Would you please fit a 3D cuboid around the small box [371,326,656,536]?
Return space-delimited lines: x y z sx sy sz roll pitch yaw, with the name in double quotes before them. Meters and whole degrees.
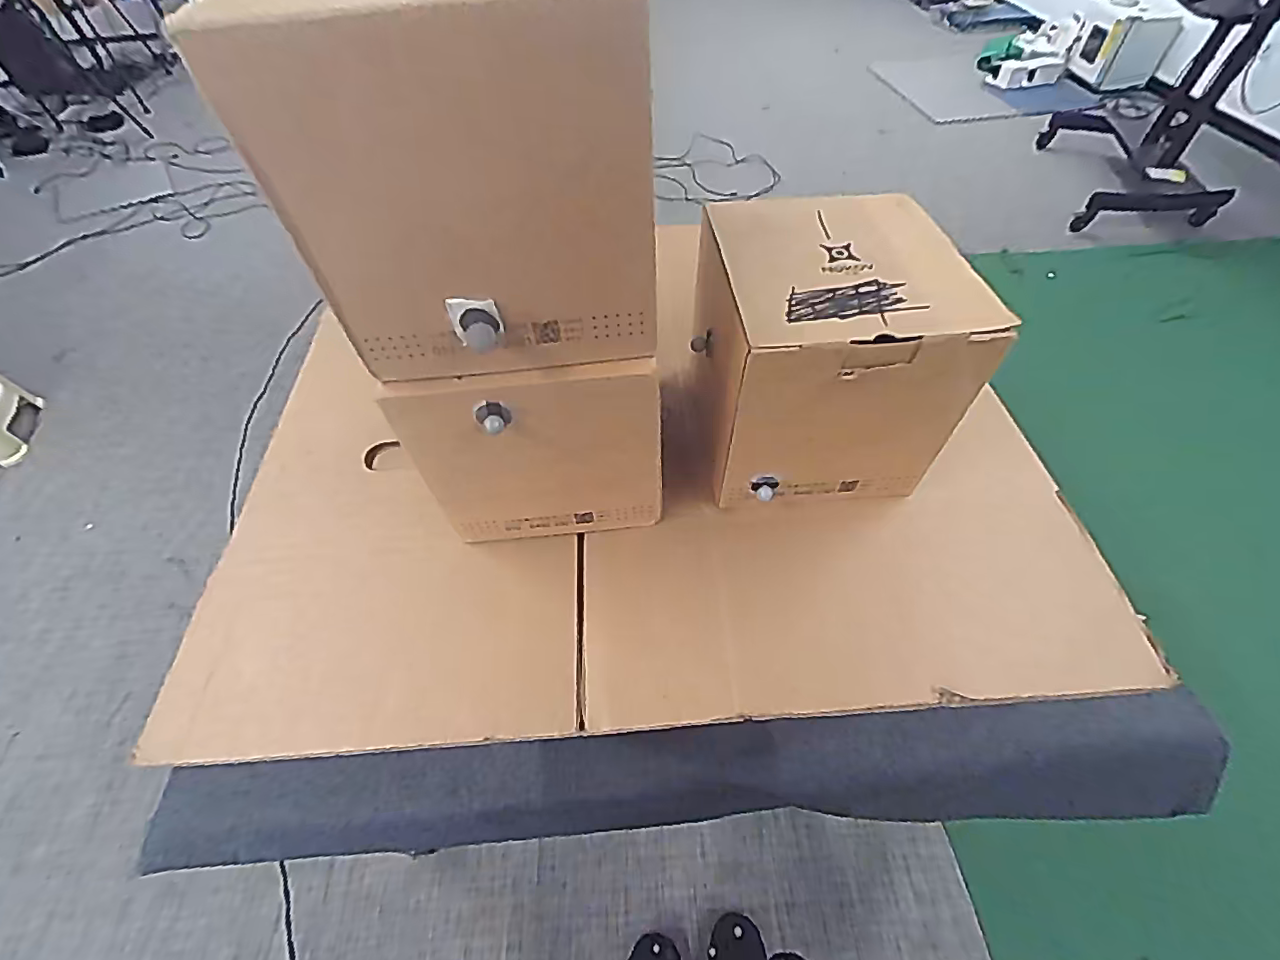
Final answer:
"small box" -0.077 -0.077 0.428 0.168 0.176 0.179 -6 53 1

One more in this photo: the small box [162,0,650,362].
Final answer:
"small box" -0.087 -0.189 0.290 0.168 0.176 0.179 -8 55 -2
